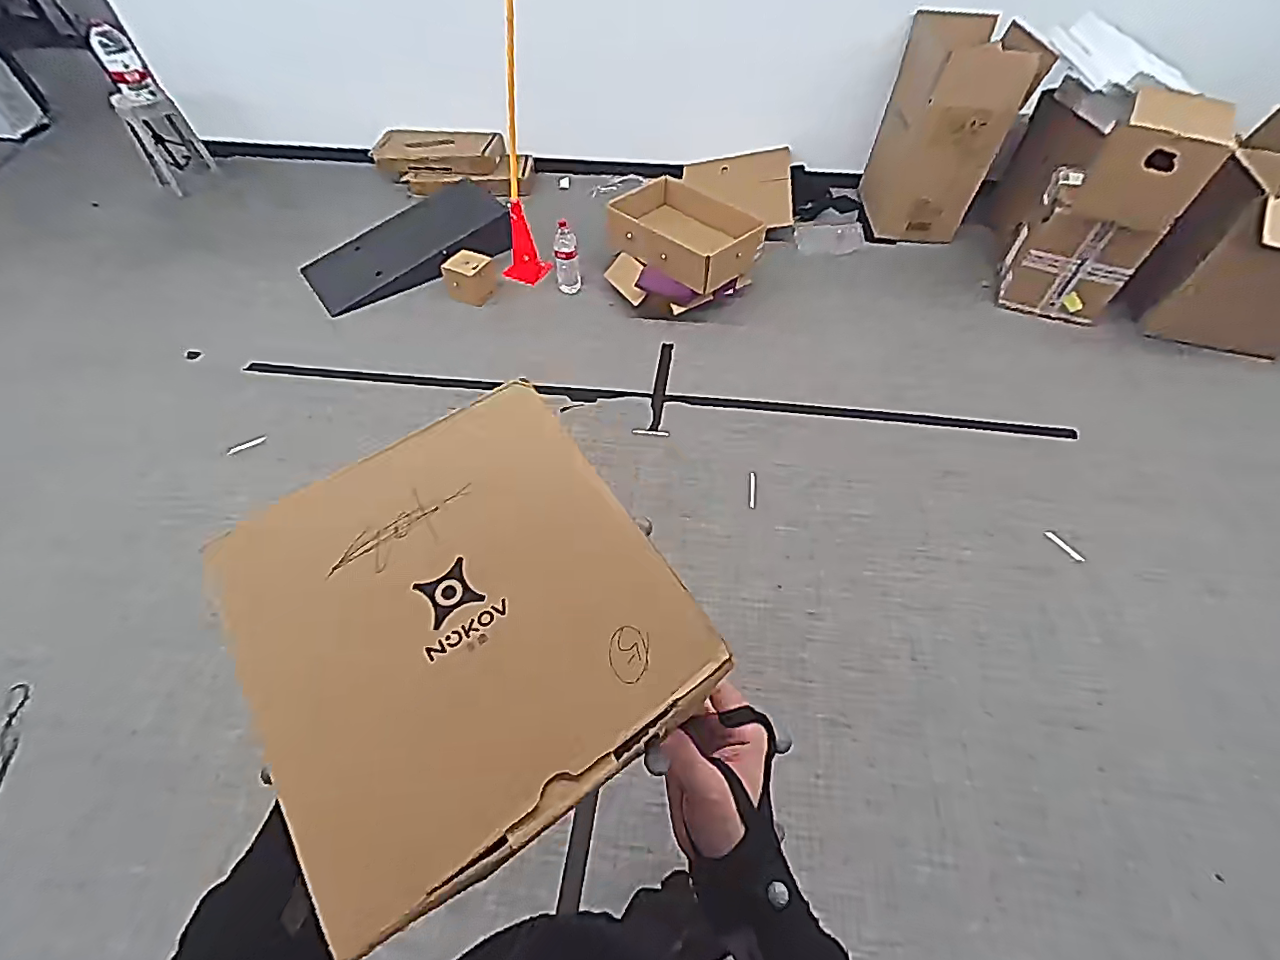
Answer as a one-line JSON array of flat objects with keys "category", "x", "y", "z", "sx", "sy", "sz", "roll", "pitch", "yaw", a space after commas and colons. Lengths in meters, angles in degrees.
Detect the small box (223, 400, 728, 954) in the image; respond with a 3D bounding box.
[{"category": "small box", "x": -0.074, "y": 0.096, "z": 0.306, "sx": 0.168, "sy": 0.176, "sz": 0.179, "roll": -33, "pitch": 66, "yaw": -16}]
